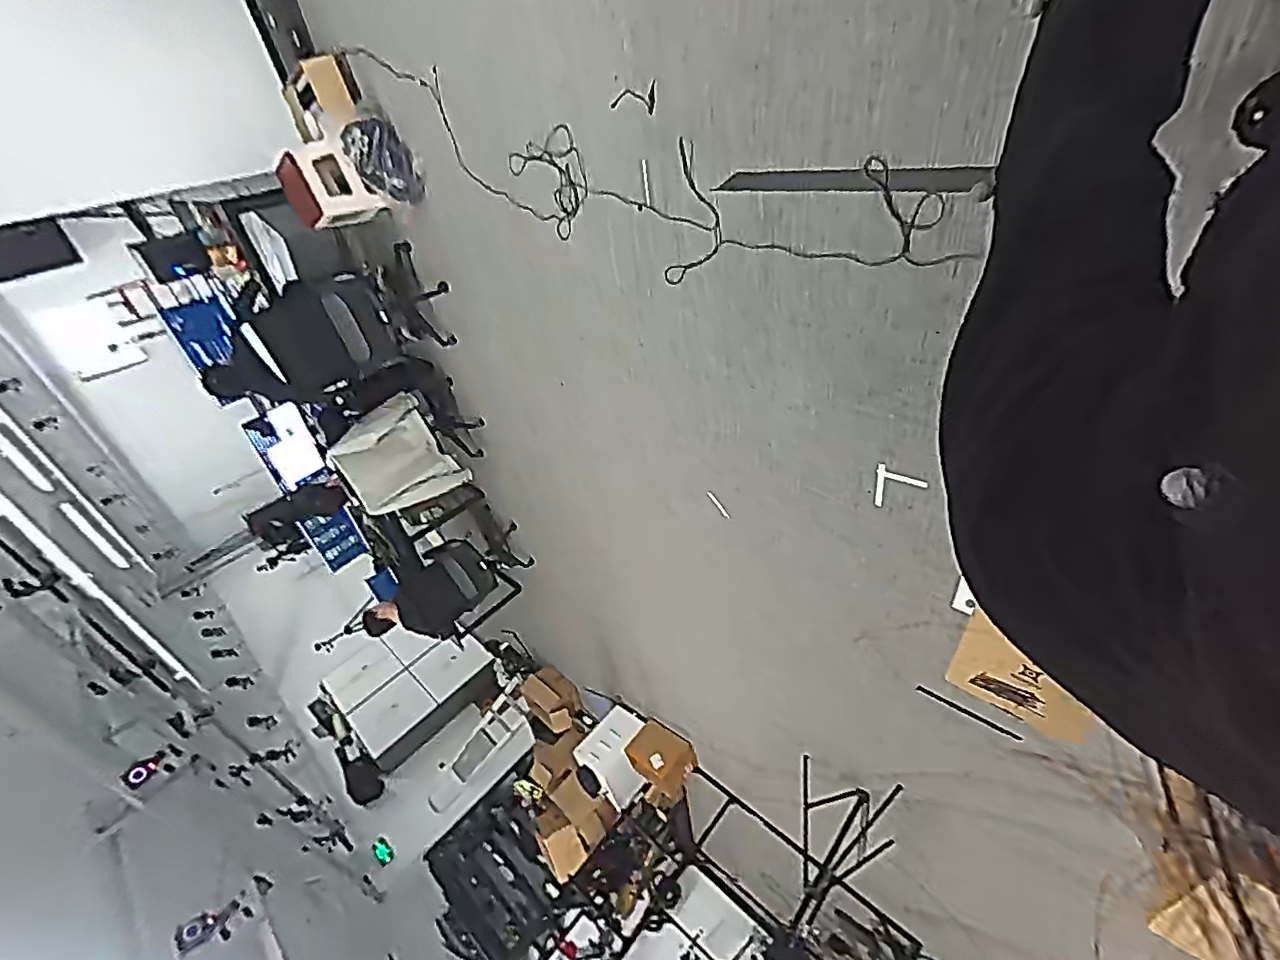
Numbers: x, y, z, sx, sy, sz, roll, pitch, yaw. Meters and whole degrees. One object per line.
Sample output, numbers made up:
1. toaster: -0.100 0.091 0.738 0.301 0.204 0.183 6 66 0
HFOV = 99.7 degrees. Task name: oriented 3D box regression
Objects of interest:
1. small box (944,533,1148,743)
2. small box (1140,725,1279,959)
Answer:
1. small box: 0.551 0.208 0.740 0.168 0.176 0.179 25 138 35
2. small box: 0.625 0.379 0.513 0.168 0.176 0.179 22 137 37
